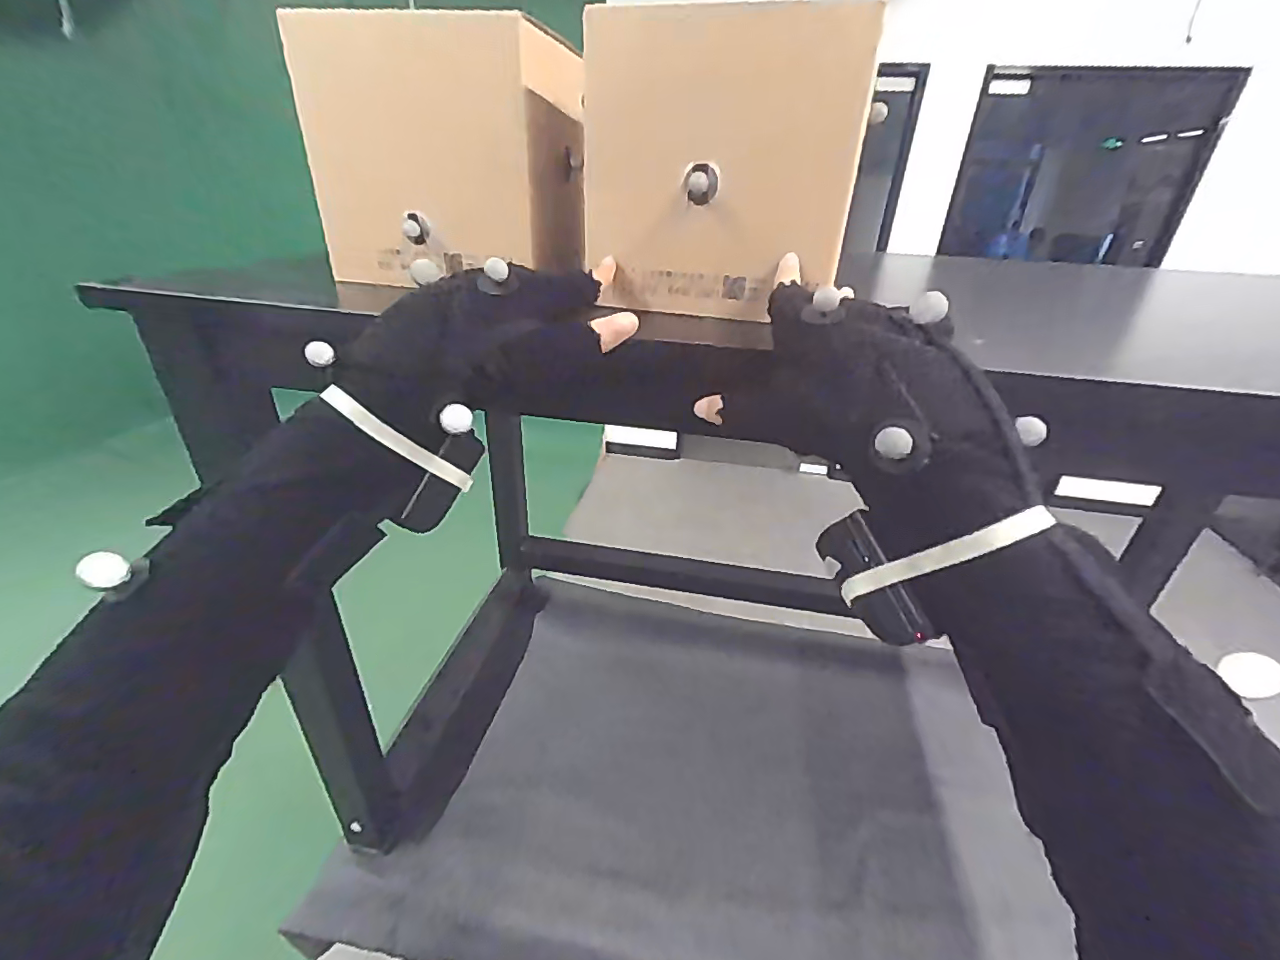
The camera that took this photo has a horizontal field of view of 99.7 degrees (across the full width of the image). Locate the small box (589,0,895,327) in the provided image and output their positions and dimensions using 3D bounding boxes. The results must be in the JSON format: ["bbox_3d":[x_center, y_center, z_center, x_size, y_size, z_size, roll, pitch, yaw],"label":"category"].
[{"bbox_3d":[0.070,-0.217,0.395,0.168,0.176,0.179,11,30,12],"label":"small box"}]
